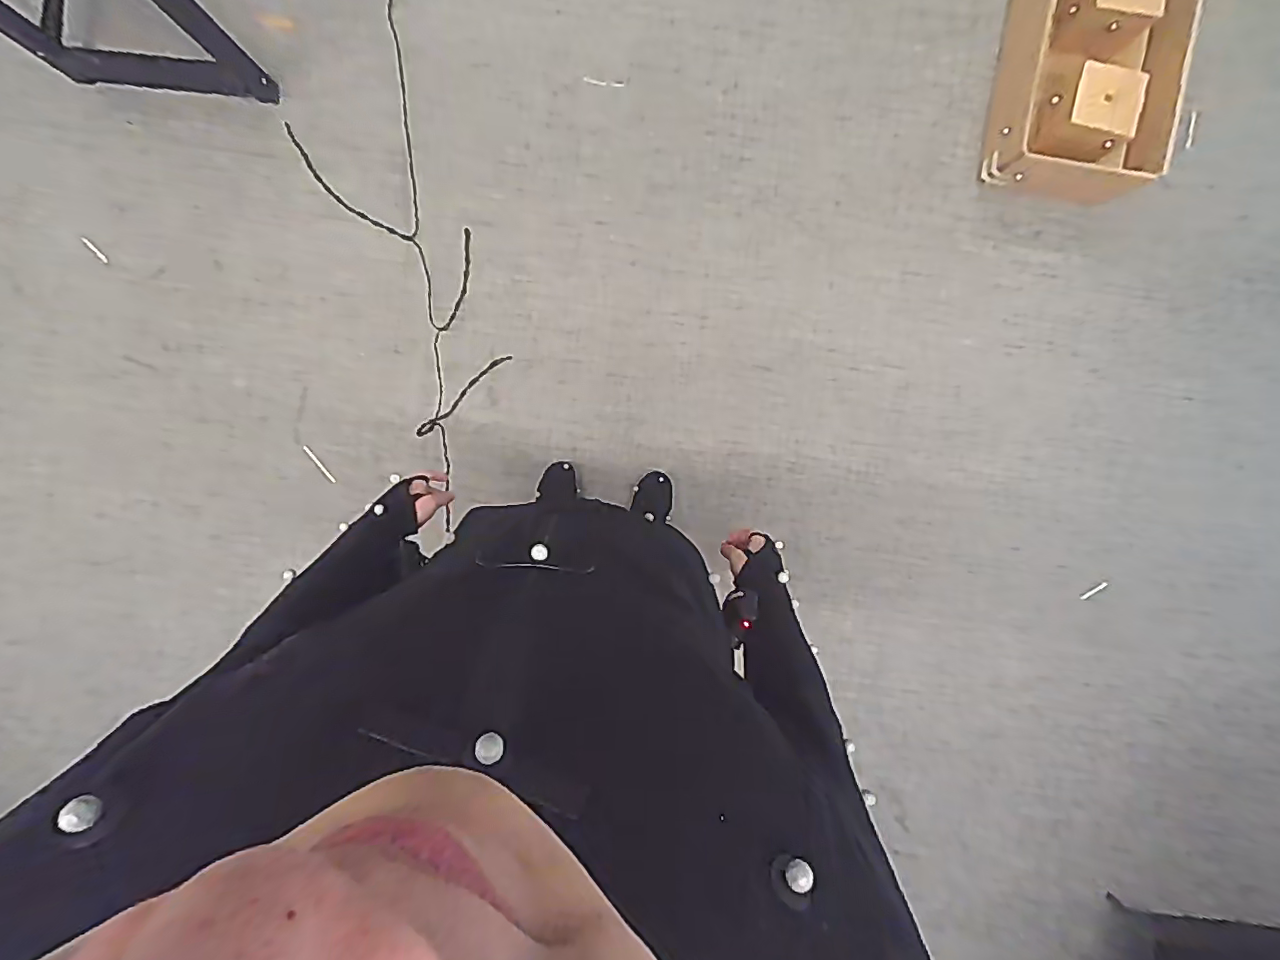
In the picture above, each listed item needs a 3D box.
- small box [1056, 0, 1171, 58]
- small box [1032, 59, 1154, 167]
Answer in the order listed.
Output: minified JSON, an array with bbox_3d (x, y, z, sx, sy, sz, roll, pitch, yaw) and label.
[{"bbox_3d":[1.267,-1.277,1.446,0.179,0.176,0.168,8,95,-1],"label":"small box"},{"bbox_3d":[1.215,-0.982,1.464,0.179,0.176,0.168,12,93,-1],"label":"small box"}]
